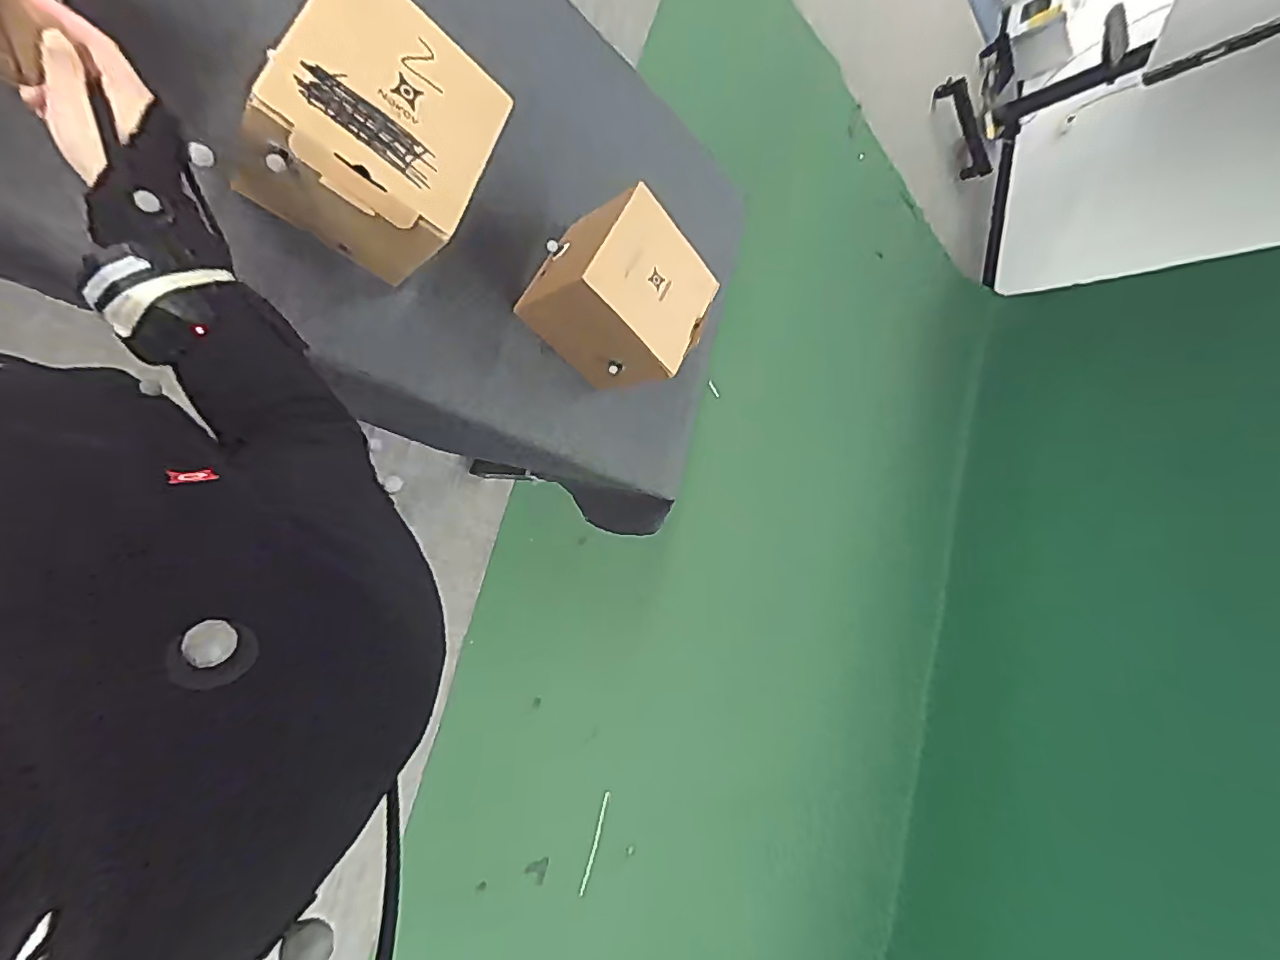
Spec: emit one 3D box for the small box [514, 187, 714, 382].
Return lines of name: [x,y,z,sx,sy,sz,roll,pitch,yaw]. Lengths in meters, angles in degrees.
small box: [-0.035,-0.250,0.741,0.179,0.176,0.168,40,66,-34]
